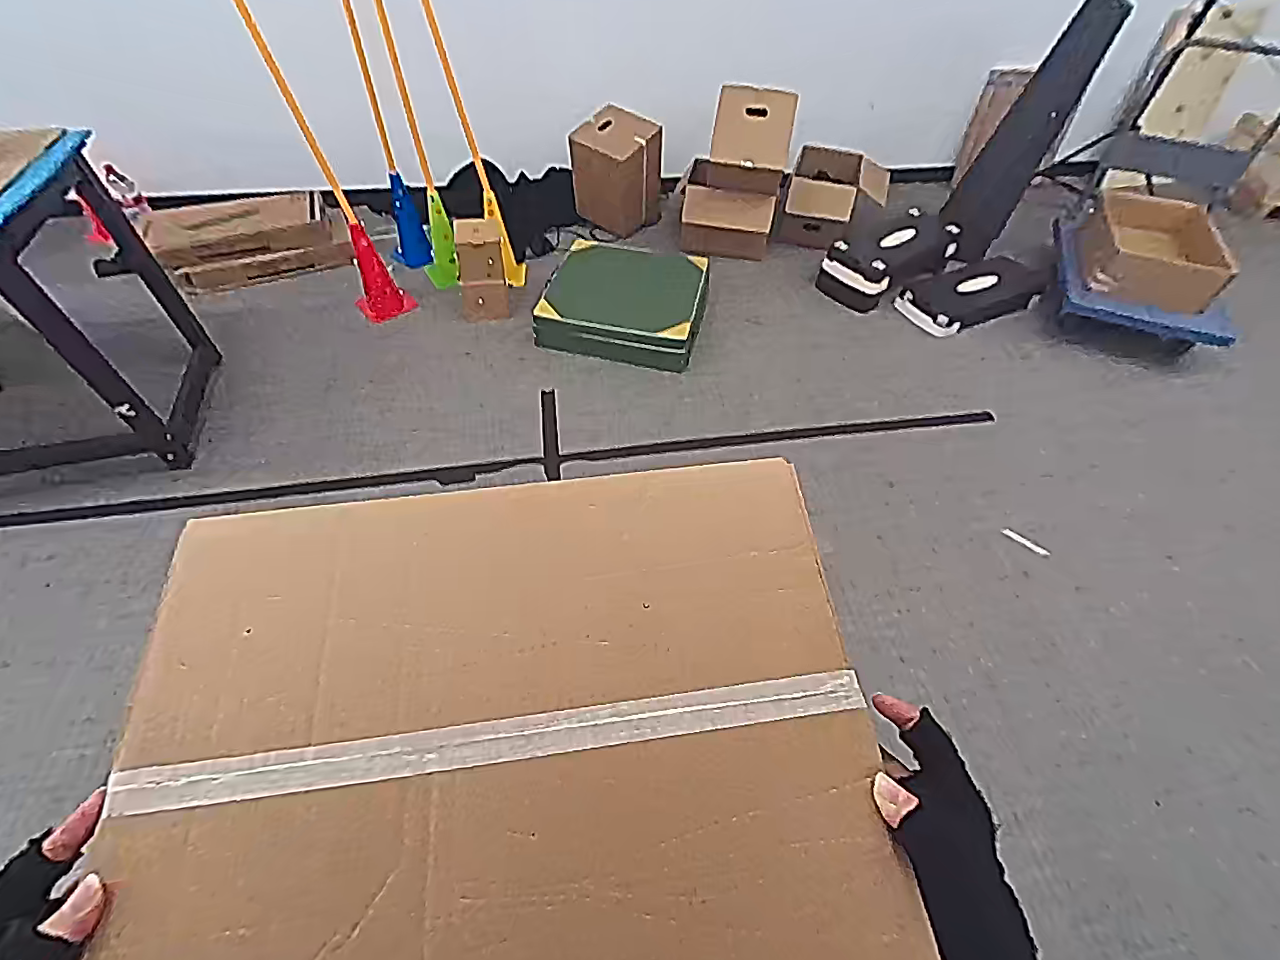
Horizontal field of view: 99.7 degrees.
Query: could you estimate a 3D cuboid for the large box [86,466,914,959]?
[{"bbox_3d":[-0.079,0.214,0.441,0.408,0.320,0.320,-6,62,-4],"label":"large box"}]
